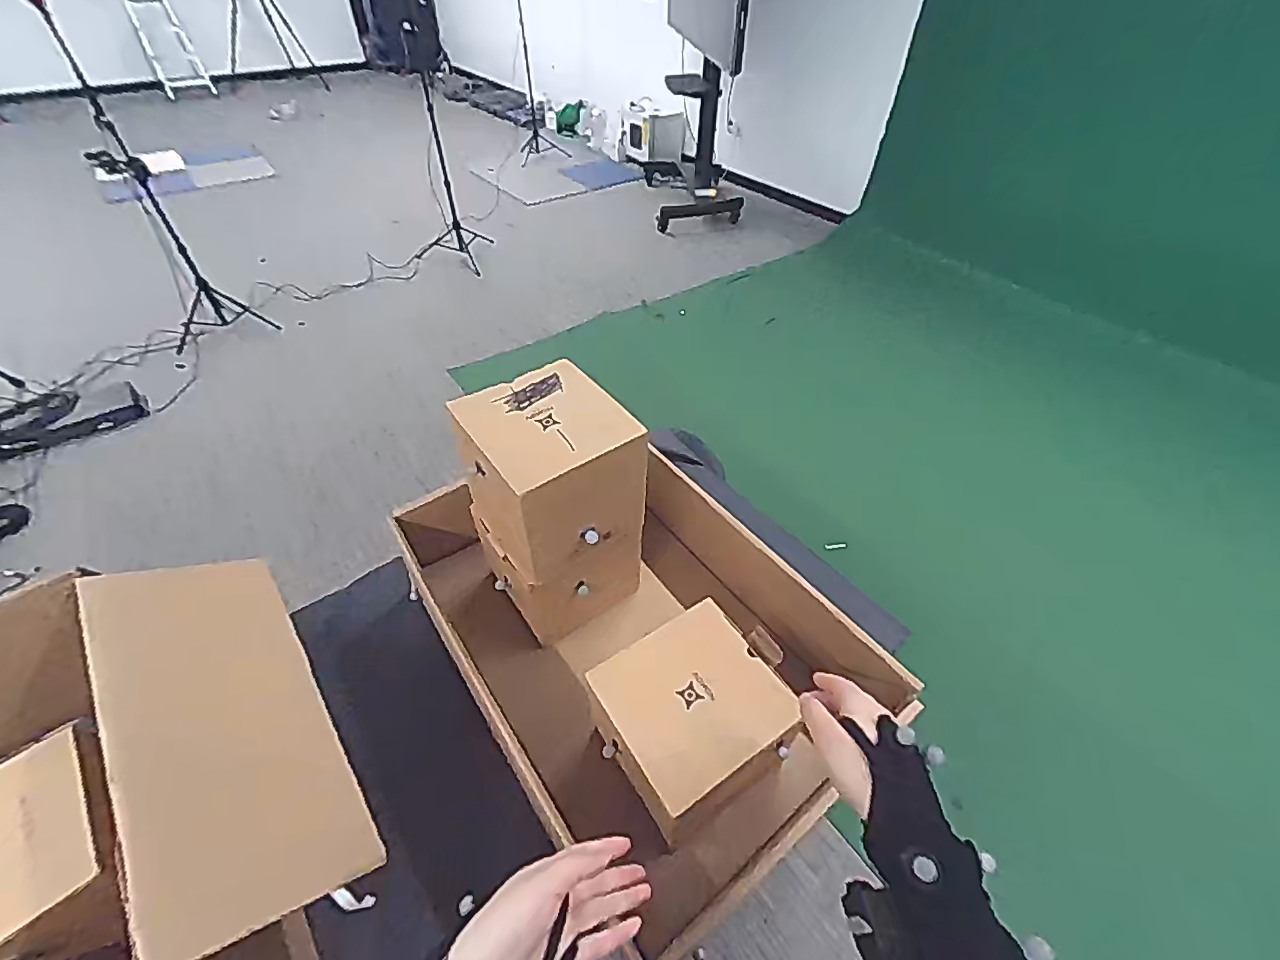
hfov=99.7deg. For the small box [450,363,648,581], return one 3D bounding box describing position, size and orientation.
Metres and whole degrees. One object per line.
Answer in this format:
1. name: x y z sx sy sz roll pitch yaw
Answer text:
1. small box: -0.109 -0.011 0.668 0.168 0.176 0.179 -28 55 -25
